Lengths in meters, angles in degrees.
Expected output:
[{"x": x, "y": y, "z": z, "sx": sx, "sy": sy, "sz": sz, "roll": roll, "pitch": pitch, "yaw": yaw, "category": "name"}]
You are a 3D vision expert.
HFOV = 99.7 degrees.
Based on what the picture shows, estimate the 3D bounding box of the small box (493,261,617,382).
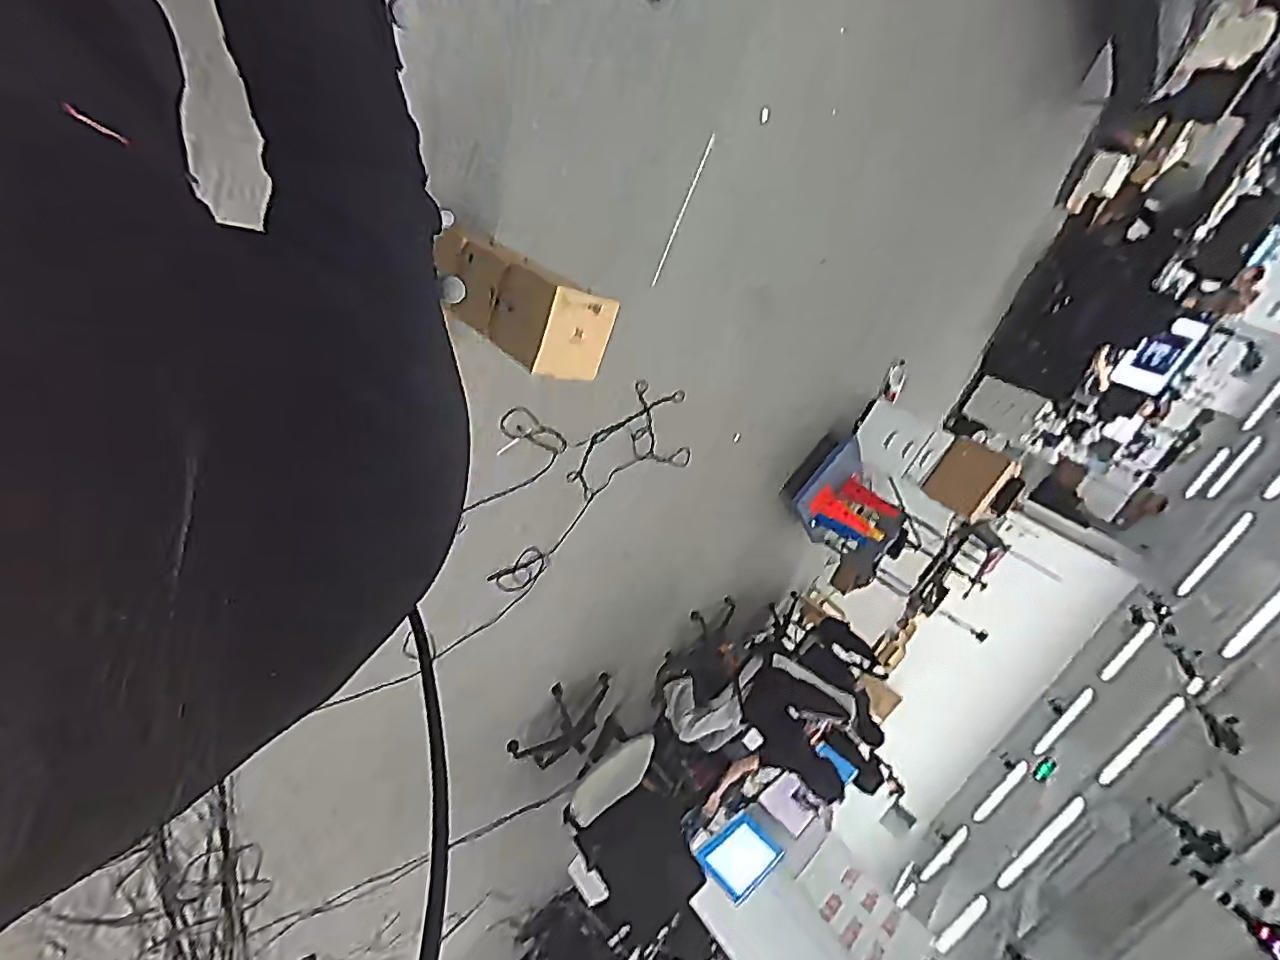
[{"x": -0.183, "y": -0.326, "z": 1.124, "sx": 0.168, "sy": 0.176, "sz": 0.179, "roll": -3, "pitch": 124, "yaw": -48, "category": "small box"}]

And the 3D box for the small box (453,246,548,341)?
[{"x": -0.293, "y": -0.408, "z": 1.214, "sx": 0.179, "sy": 0.176, "sz": 0.168, "roll": -4, "pitch": 124, "yaw": -49, "category": "small box"}]

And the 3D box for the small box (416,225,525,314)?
[{"x": -0.408, "y": -0.493, "z": 1.297, "sx": 0.179, "sy": 0.176, "sz": 0.168, "roll": -4, "pitch": 123, "yaw": -47, "category": "small box"}]
